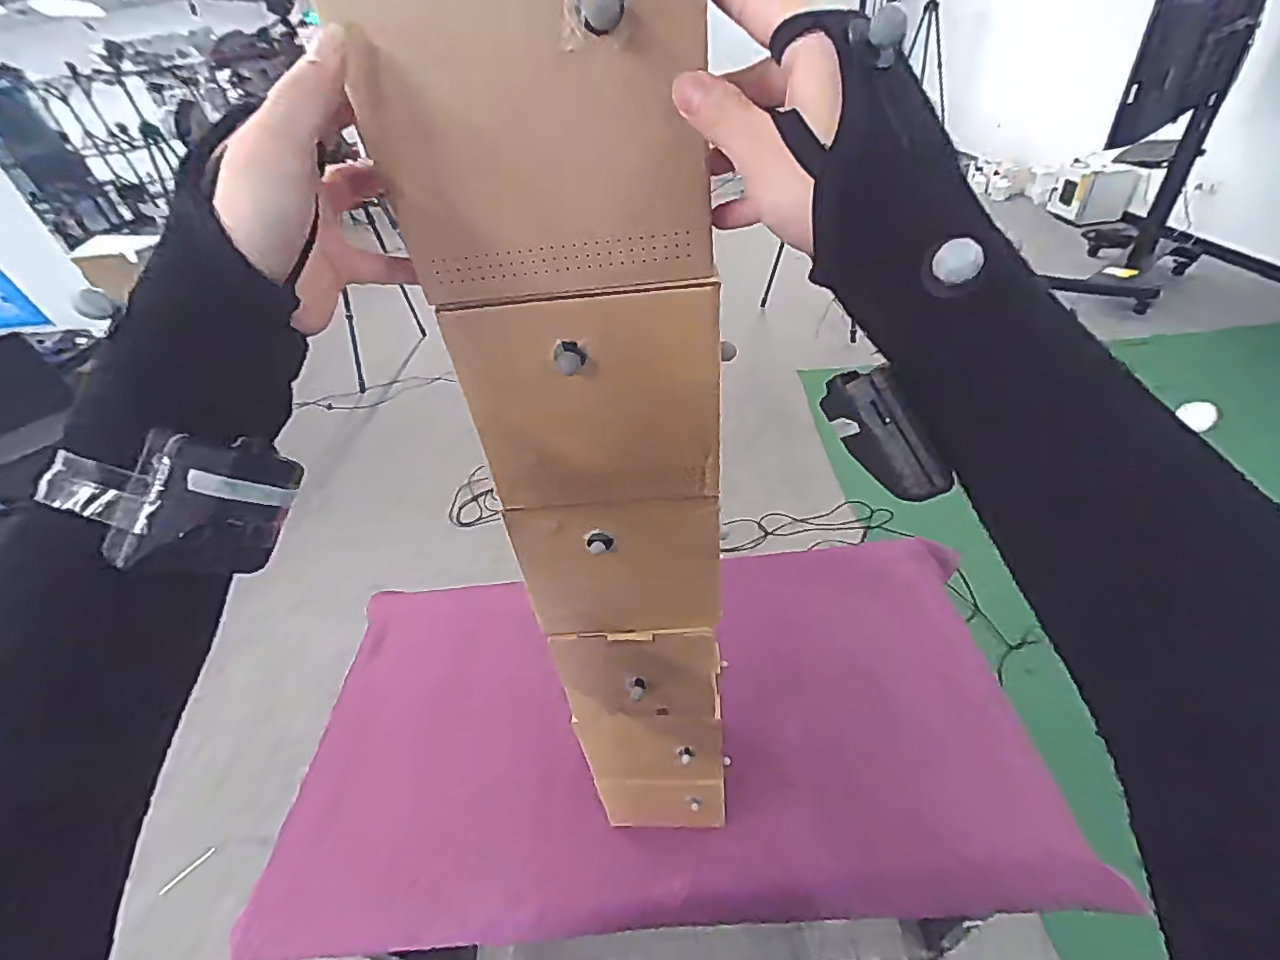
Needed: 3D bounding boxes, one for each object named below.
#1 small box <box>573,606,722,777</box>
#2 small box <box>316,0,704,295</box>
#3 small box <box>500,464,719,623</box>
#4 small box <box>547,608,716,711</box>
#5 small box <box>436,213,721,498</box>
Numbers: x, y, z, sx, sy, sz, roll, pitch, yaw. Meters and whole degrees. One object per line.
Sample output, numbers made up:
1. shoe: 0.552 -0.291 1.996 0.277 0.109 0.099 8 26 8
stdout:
1. small box: 0.020 0.283 0.735 0.179 0.176 0.168 -3 39 7
2. small box: -0.051 -0.230 0.333 0.179 0.176 0.168 -4 41 6
3. small box: -0.016 0.026 0.536 0.179 0.176 0.168 -3 39 4
4. small box: 0.002 0.154 0.637 0.168 0.176 0.179 -3 40 6
5. small box: -0.028 -0.100 0.435 0.179 0.176 0.168 -4 39 6
